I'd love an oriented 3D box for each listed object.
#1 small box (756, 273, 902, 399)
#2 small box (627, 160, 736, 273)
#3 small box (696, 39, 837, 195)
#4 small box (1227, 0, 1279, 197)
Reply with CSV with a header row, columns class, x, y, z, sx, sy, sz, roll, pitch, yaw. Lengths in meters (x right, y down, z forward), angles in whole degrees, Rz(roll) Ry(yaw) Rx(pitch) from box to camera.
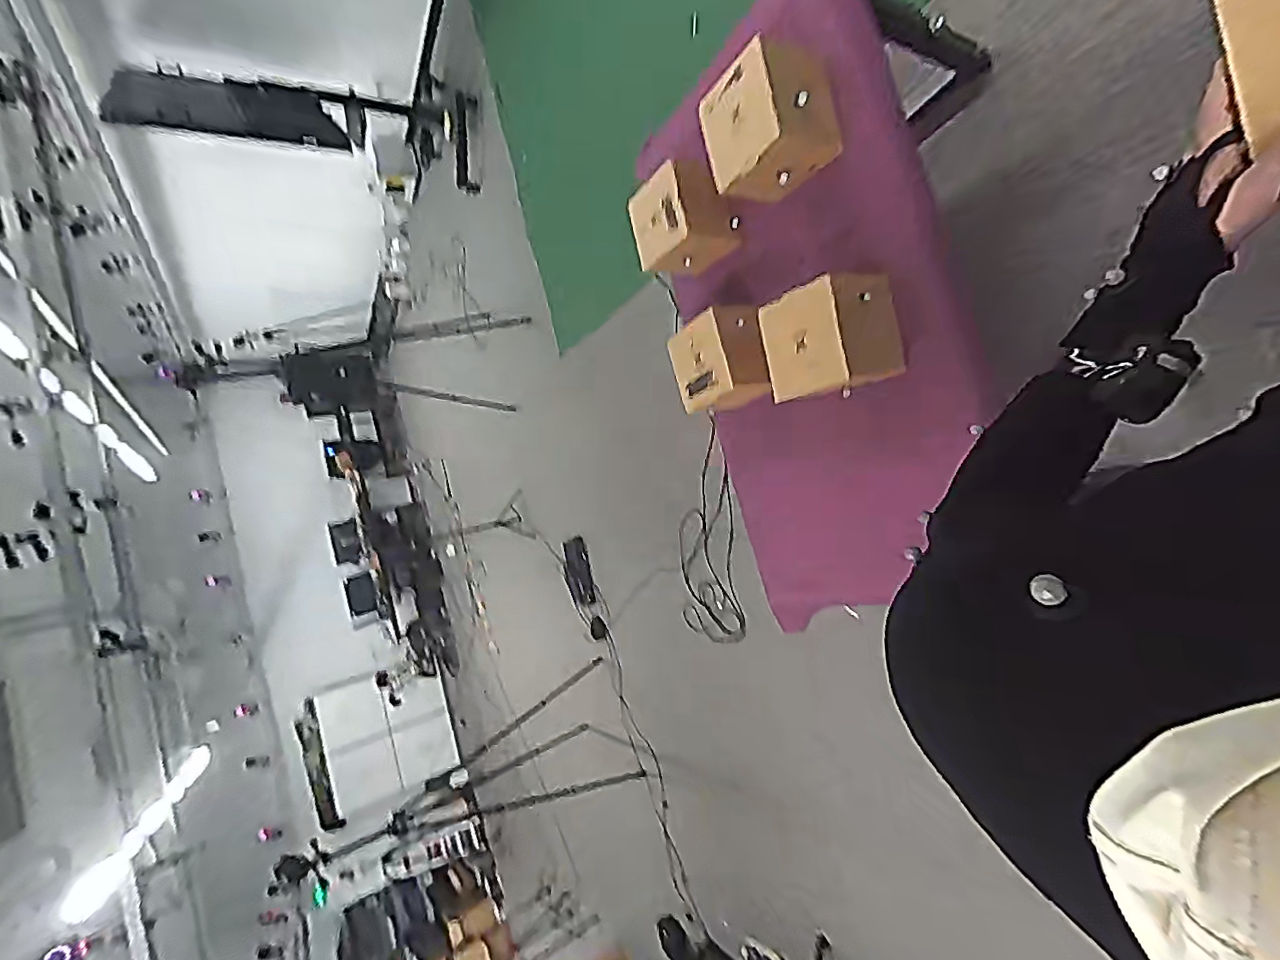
class,x,y,z,sx,sy,sz,roll,pitch,yaw
small box,0.339,-0.254,0.974,0.168,0.176,0.179,-9,93,58
small box,0.098,-0.585,1.221,0.179,0.176,0.168,-13,89,57
small box,0.235,-0.650,0.996,0.168,0.176,0.179,-15,89,58
small box,0.554,-0.333,0.379,0.179,0.176,0.168,-10,87,50
